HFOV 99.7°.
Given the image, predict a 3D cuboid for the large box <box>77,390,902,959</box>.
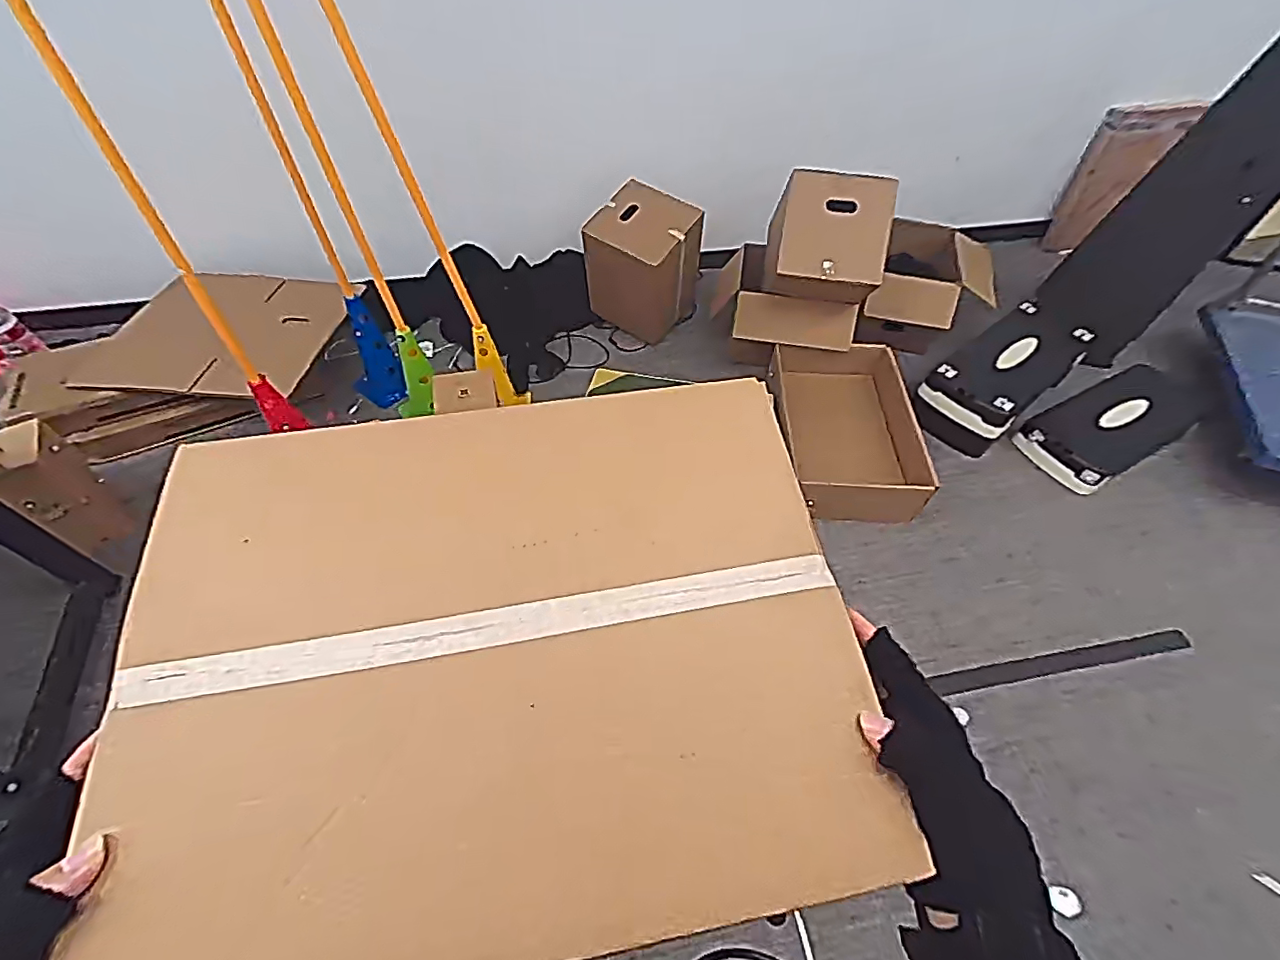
[{"bbox_3d":[-0.087,0.161,0.453,0.408,0.320,0.320,-8,62,-6],"label":"large box"}]
